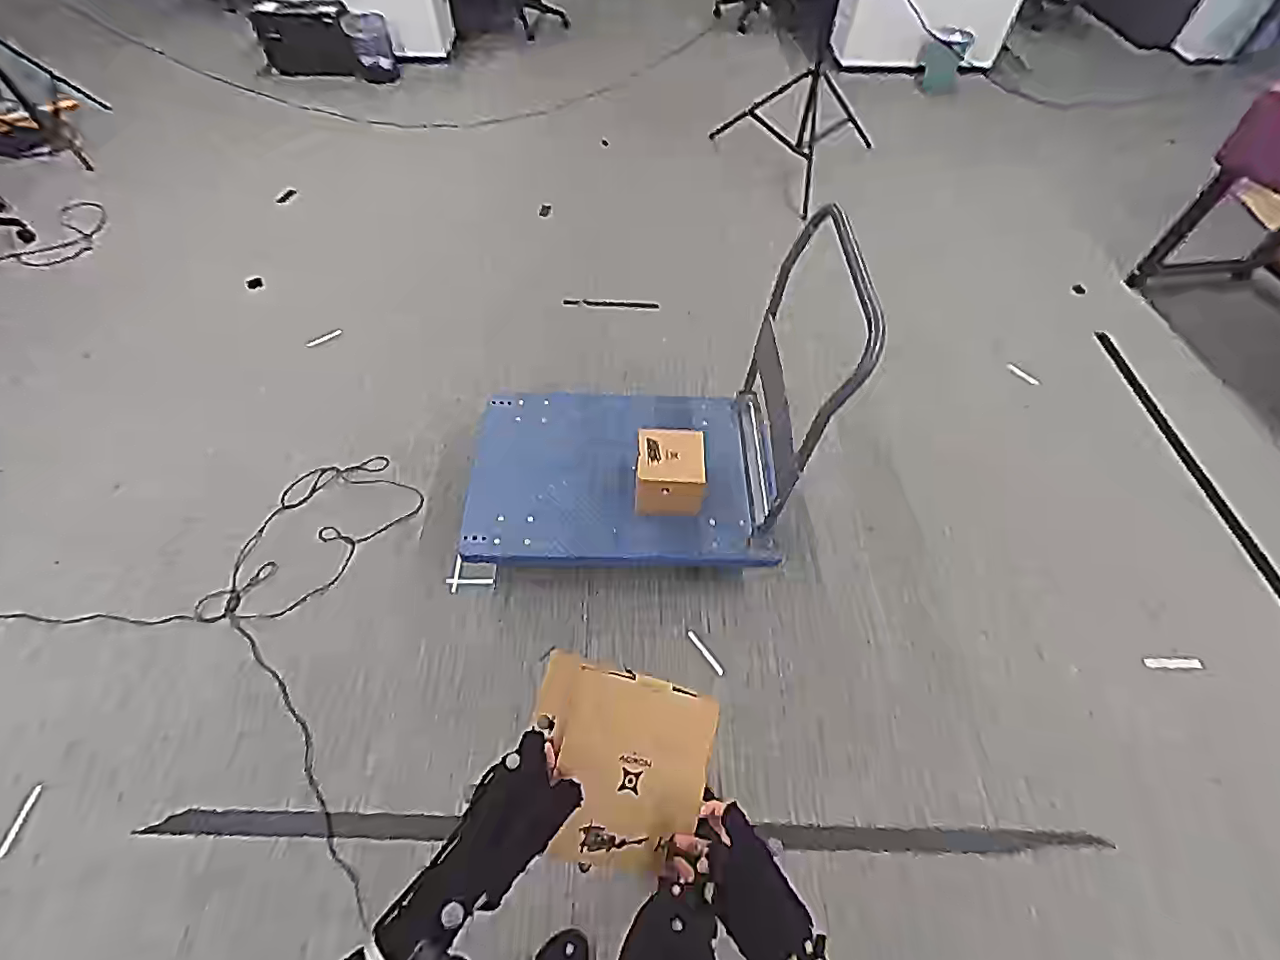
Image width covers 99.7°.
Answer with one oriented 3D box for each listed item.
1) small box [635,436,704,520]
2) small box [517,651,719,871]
[{"bbox_3d":[0.077,-0.003,1.473,0.179,0.176,0.168,3,55,0],"label":"small box"},{"bbox_3d":[-0.033,0.308,0.628,0.168,0.176,0.179,20,73,-15],"label":"small box"}]
